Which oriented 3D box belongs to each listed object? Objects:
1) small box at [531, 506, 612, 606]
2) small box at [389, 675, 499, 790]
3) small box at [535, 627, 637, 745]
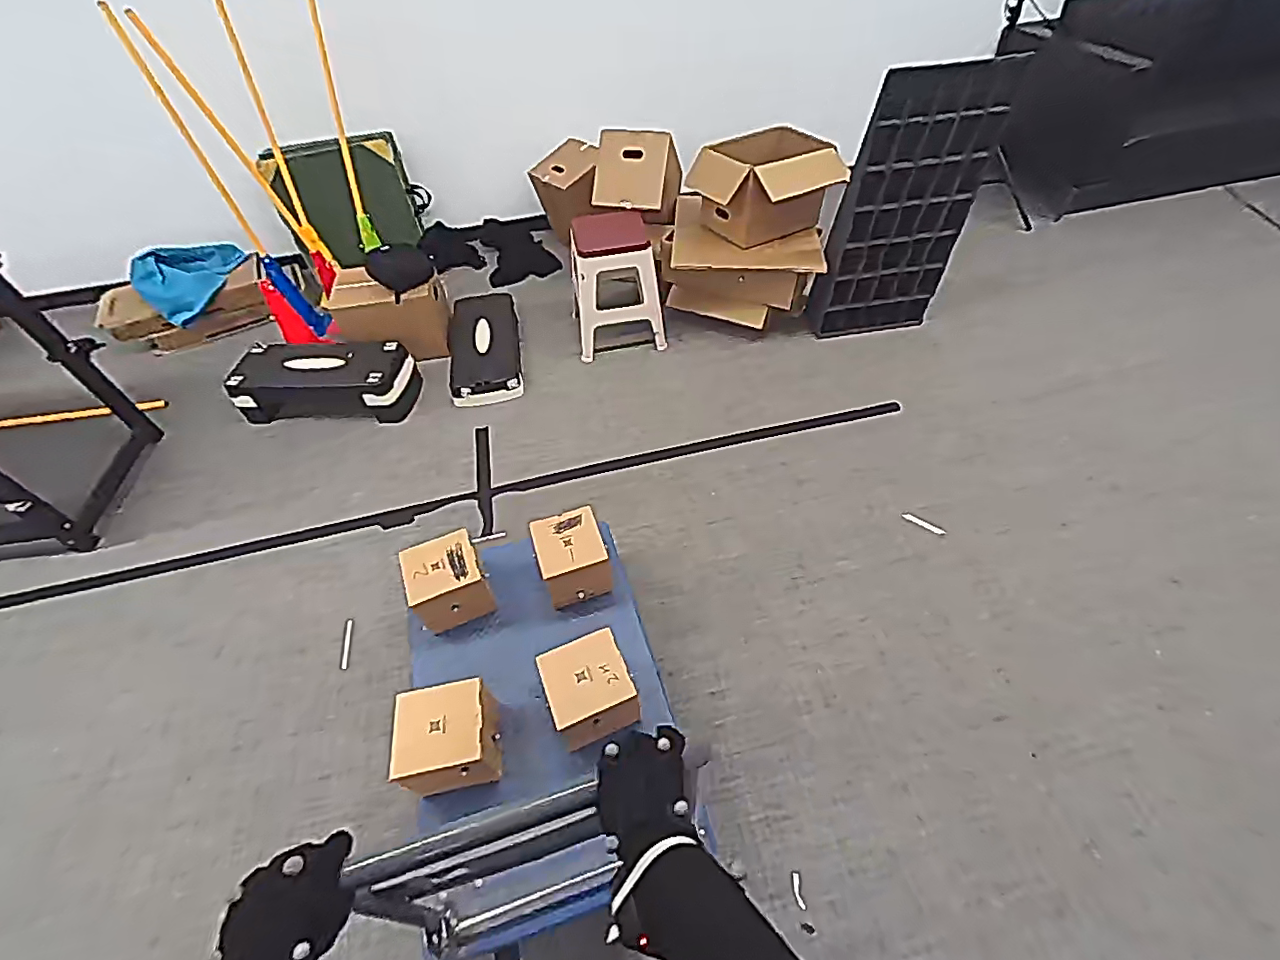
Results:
[{"bbox_3d":[-0.178,0.202,1.421,0.168,0.176,0.179,-16,53,-10],"label":"small box"},{"bbox_3d":[-0.409,0.542,1.155,0.179,0.176,0.168,-9,50,-6],"label":"small box"},{"bbox_3d":[-0.116,0.463,1.203,0.179,0.176,0.168,-19,52,-12],"label":"small box"}]
